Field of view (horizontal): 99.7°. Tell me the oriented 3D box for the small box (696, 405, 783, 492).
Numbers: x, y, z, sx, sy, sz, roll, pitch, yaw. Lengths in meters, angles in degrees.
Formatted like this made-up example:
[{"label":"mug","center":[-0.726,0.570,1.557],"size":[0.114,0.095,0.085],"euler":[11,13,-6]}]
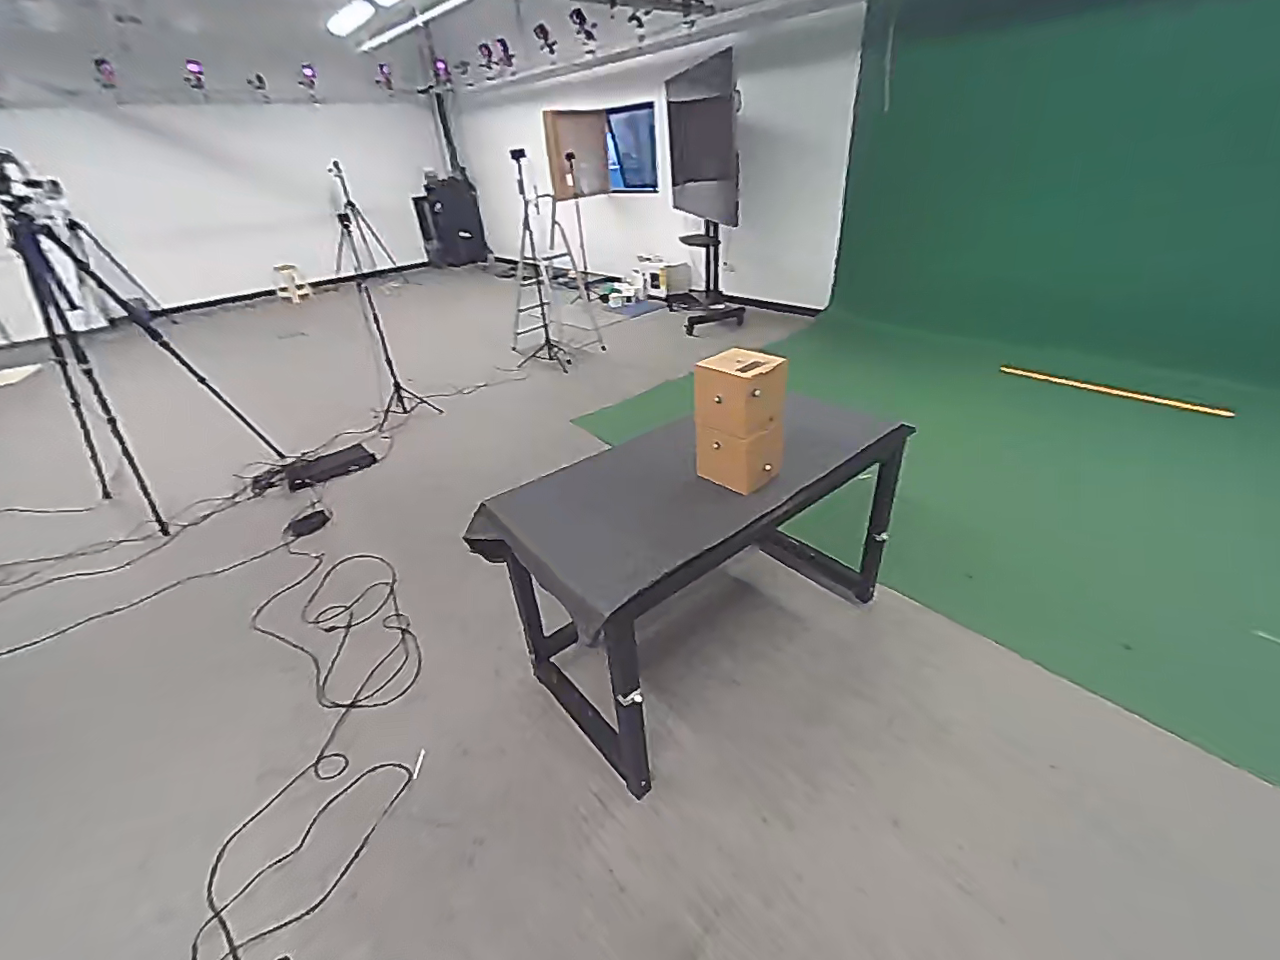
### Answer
[{"label":"small box","center":[0.273,-0.087,1.497],"size":[0.168,0.176,0.179],"euler":[-29,38,-34]}]
